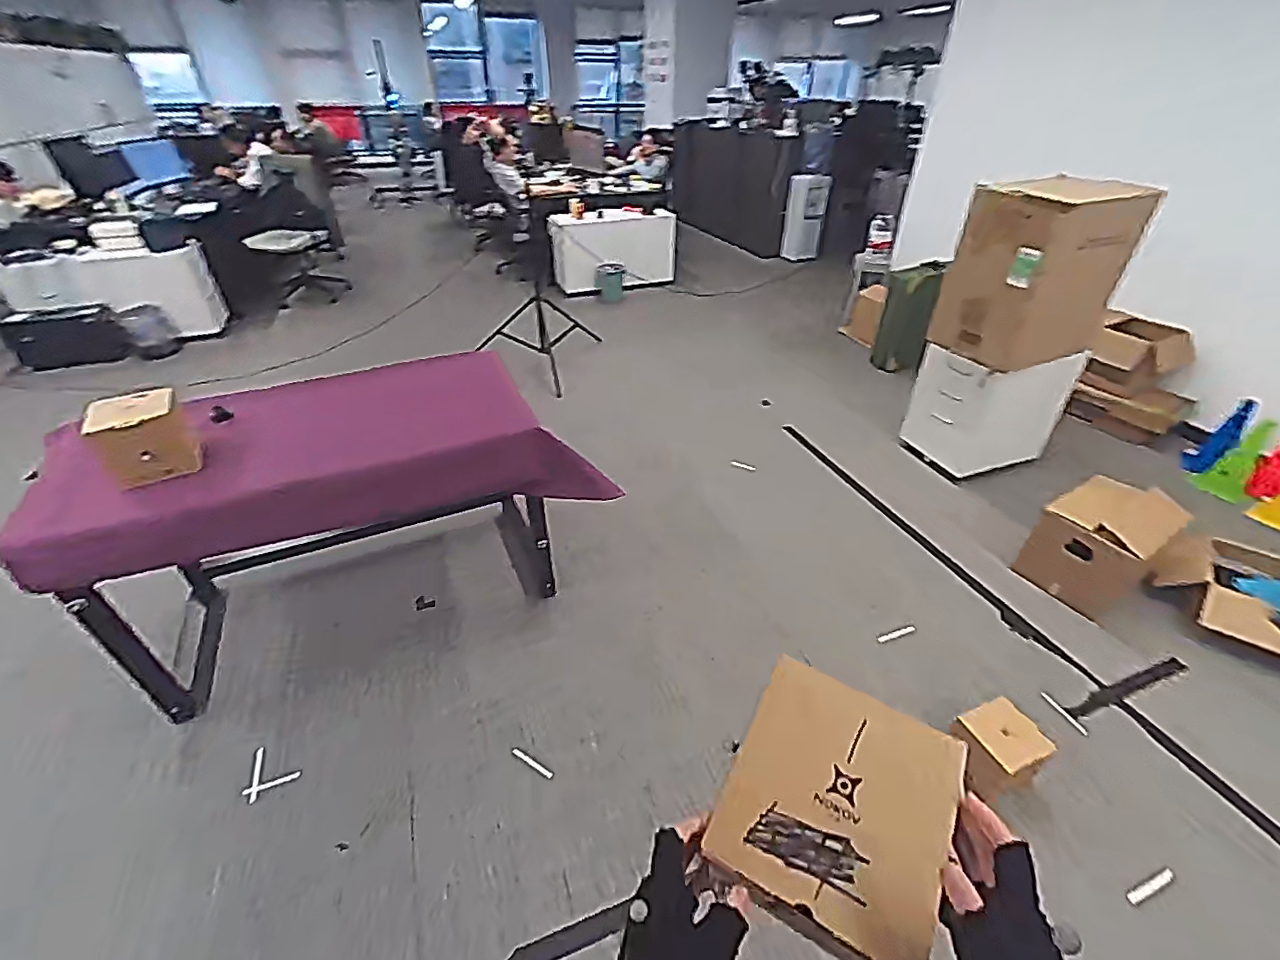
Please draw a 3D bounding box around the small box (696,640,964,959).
[{"bbox_3d":[0.160,0.285,0.493,0.168,0.176,0.179,23,57,19],"label":"small box"}]

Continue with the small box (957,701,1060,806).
[{"bbox_3d":[0.968,0.739,1.463,0.179,0.176,0.168,-13,37,-16],"label":"small box"}]

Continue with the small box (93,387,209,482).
[{"bbox_3d":[-1.226,-0.111,1.370,0.168,0.176,0.179,-20,42,-26],"label":"small box"}]
